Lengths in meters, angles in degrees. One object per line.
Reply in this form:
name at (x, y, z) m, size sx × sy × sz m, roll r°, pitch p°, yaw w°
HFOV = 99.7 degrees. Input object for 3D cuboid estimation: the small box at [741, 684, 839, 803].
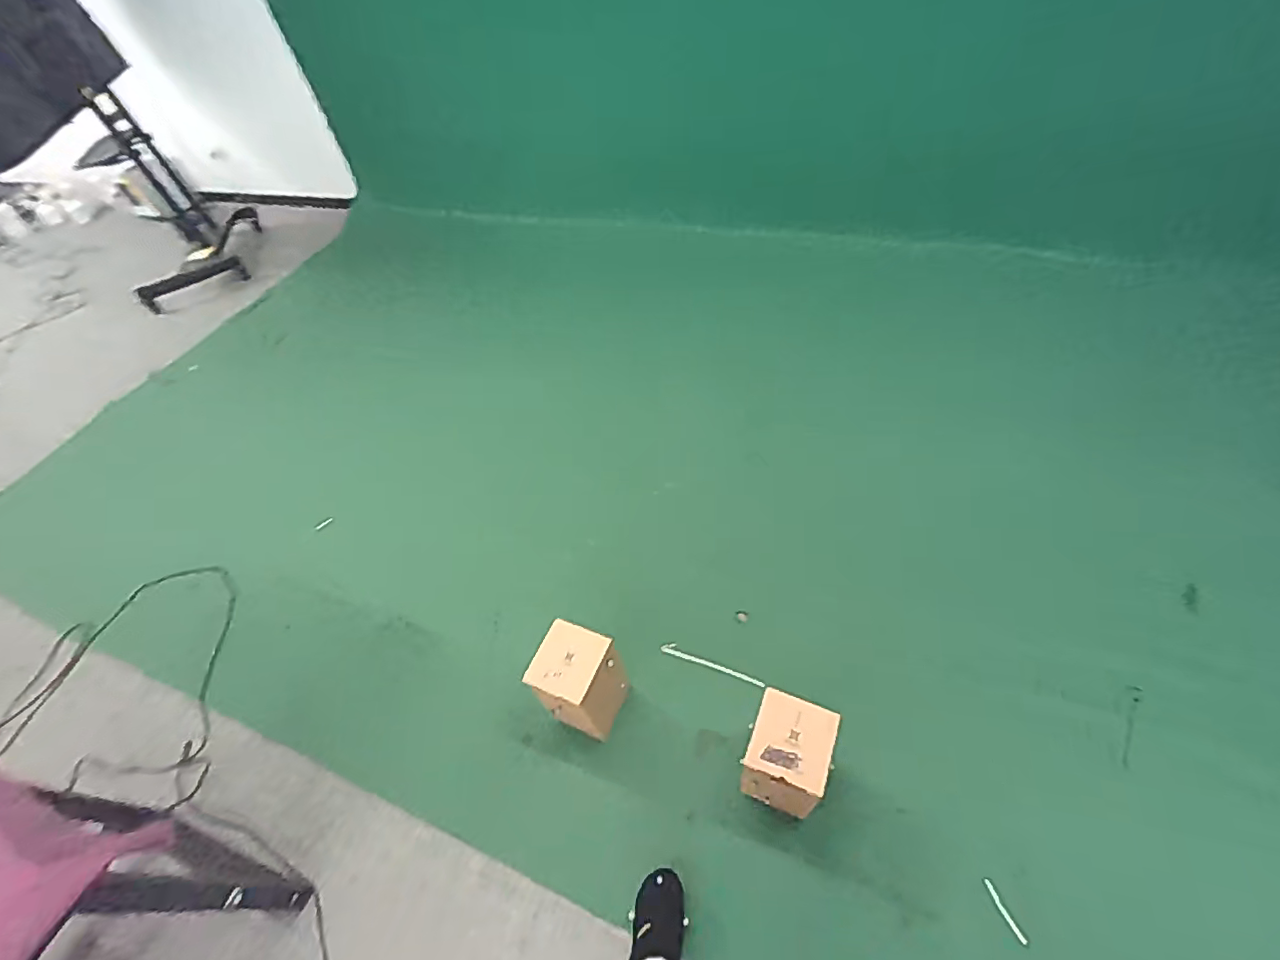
small box at (0.333, 0.597, 1.216) m, size 0.168 × 0.176 × 0.179 m, roll 16°, pitch 56°, yaw 20°

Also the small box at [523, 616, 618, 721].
small box at (-0.168, 0.485, 1.388) m, size 0.168 × 0.176 × 0.179 m, roll 15°, pitch 56°, yaw 21°

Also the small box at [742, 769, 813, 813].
small box at (0.353, 0.697, 1.344) m, size 0.168 × 0.176 × 0.179 m, roll 15°, pitch 57°, yaw 19°
